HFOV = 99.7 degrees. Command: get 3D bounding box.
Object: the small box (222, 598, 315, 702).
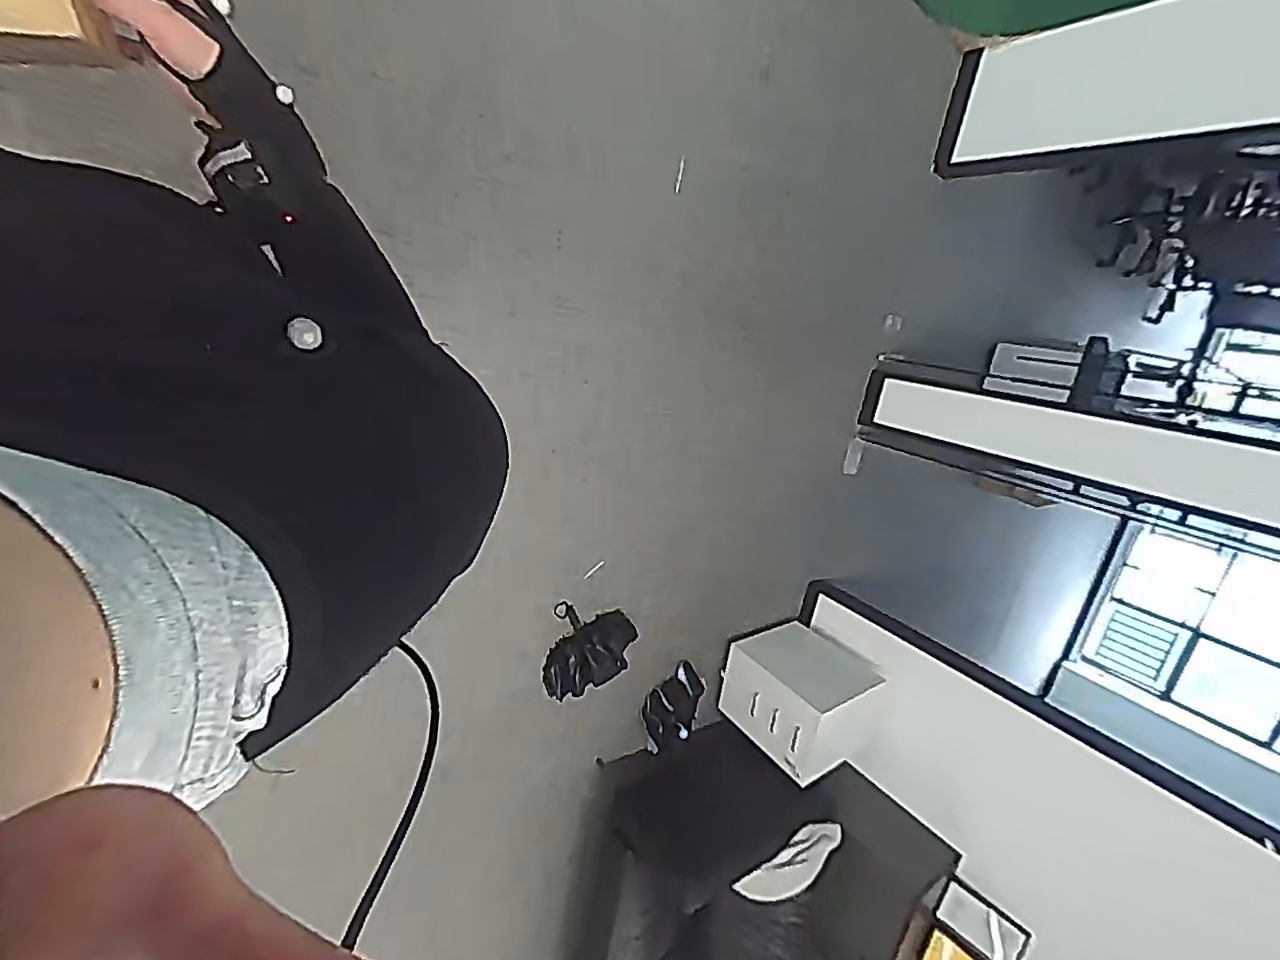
[{"bbox_3d":[-0.971,0.430,1.413,0.168,0.176,0.179,-16,119,-30],"label":"small box"}]
